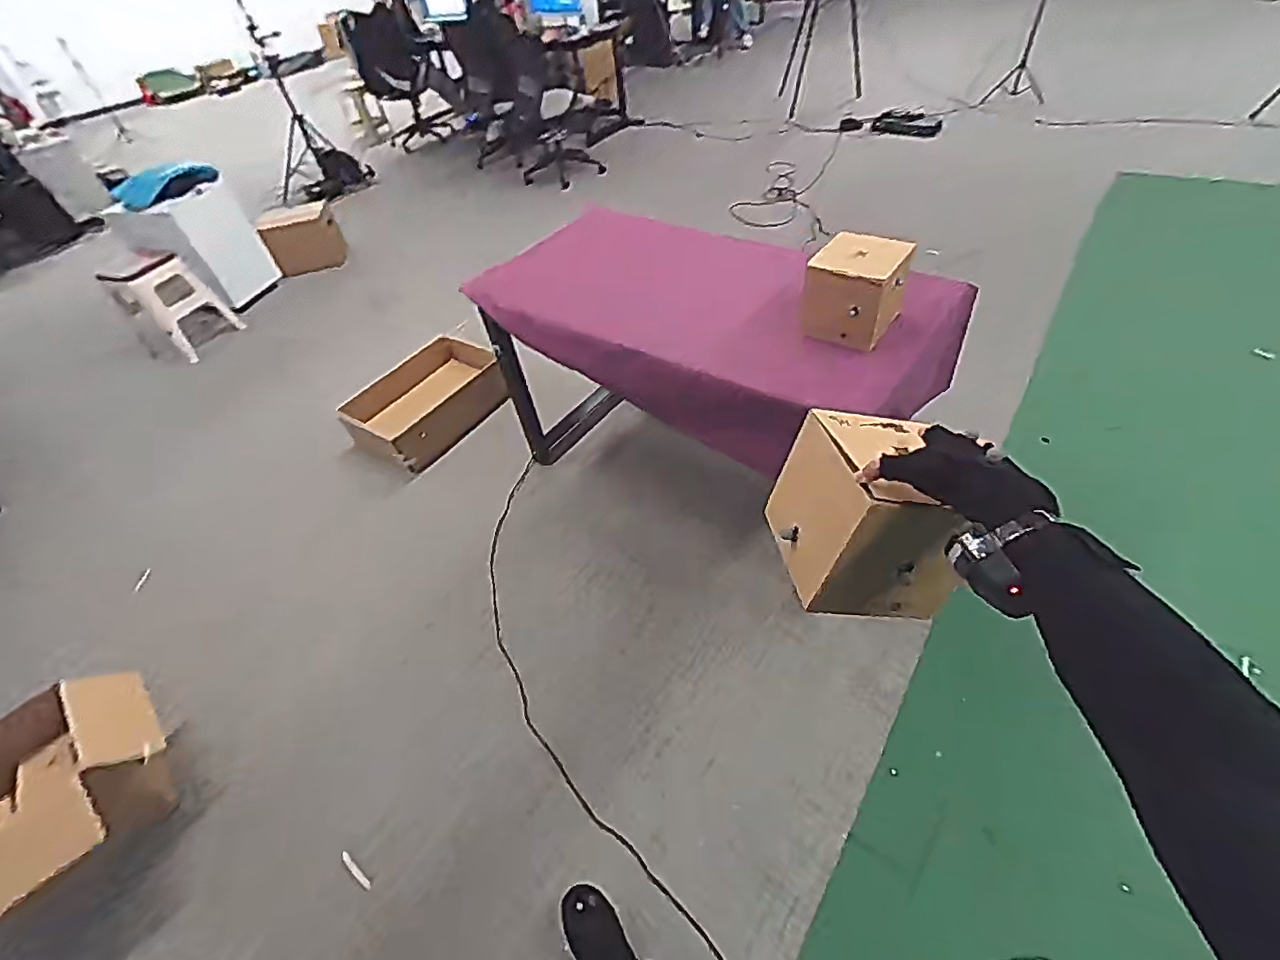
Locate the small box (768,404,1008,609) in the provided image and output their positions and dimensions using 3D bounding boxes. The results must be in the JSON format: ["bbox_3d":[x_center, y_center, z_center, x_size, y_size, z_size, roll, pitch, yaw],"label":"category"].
[{"bbox_3d":[0.272,0.034,0.644,0.168,0.176,0.179,6,38,-11],"label":"small box"}]

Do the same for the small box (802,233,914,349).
[{"bbox_3d":[0.470,-0.413,1.186,0.168,0.176,0.179,27,56,29],"label":"small box"}]
